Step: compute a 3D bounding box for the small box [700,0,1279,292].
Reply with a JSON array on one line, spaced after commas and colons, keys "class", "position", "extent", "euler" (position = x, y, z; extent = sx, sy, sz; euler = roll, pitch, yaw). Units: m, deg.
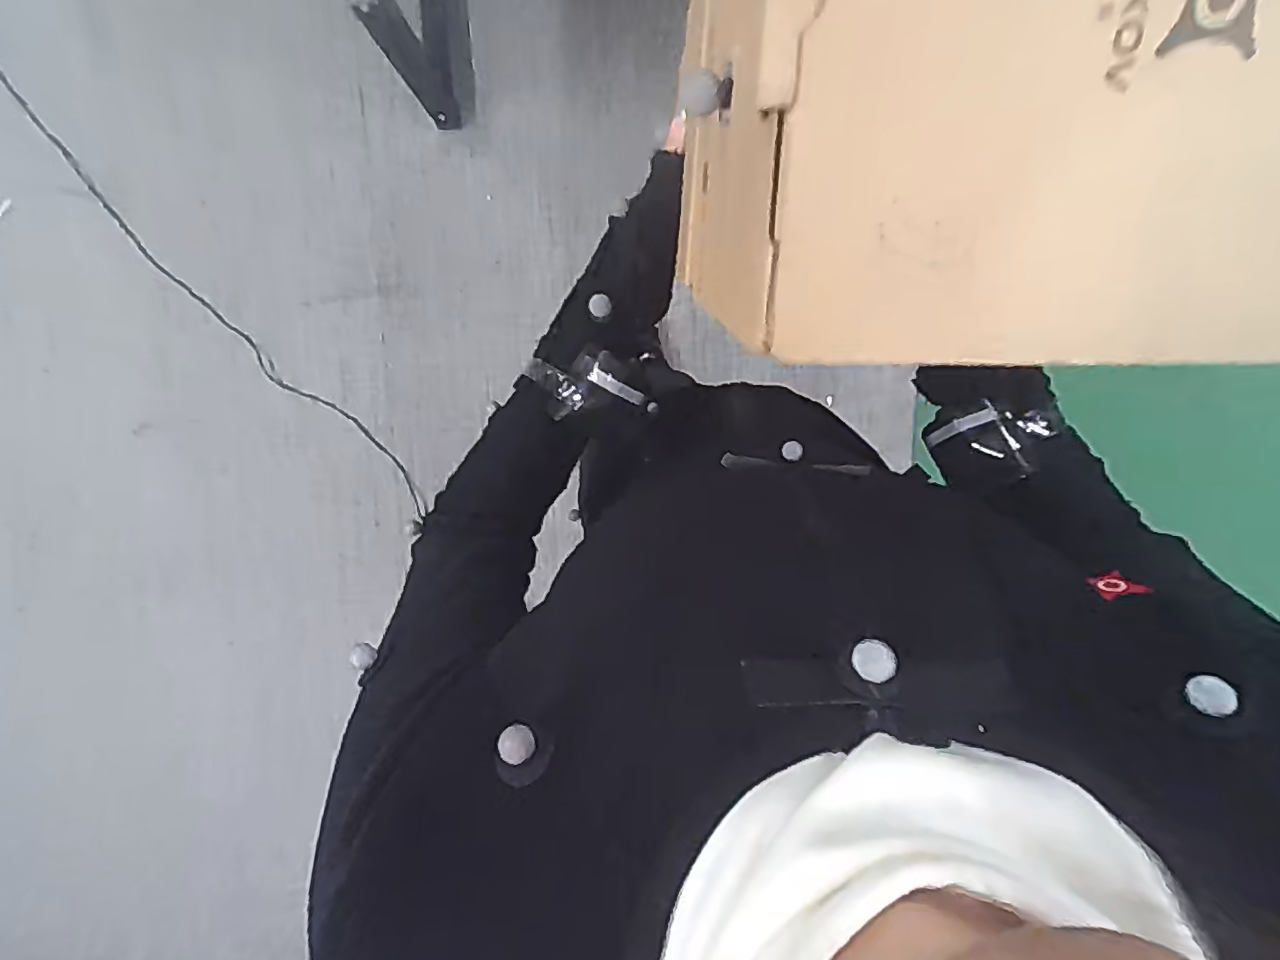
[{"class": "small box", "position": [0.117, -0.158, 0.198], "extent": [0.179, 0.176, 0.168], "euler": [-2, 112, -1]}]

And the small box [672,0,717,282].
[{"class": "small box", "position": [0.115, -0.216, 0.331], "extent": [0.179, 0.176, 0.168], "euler": [-2, 114, -1]}]
